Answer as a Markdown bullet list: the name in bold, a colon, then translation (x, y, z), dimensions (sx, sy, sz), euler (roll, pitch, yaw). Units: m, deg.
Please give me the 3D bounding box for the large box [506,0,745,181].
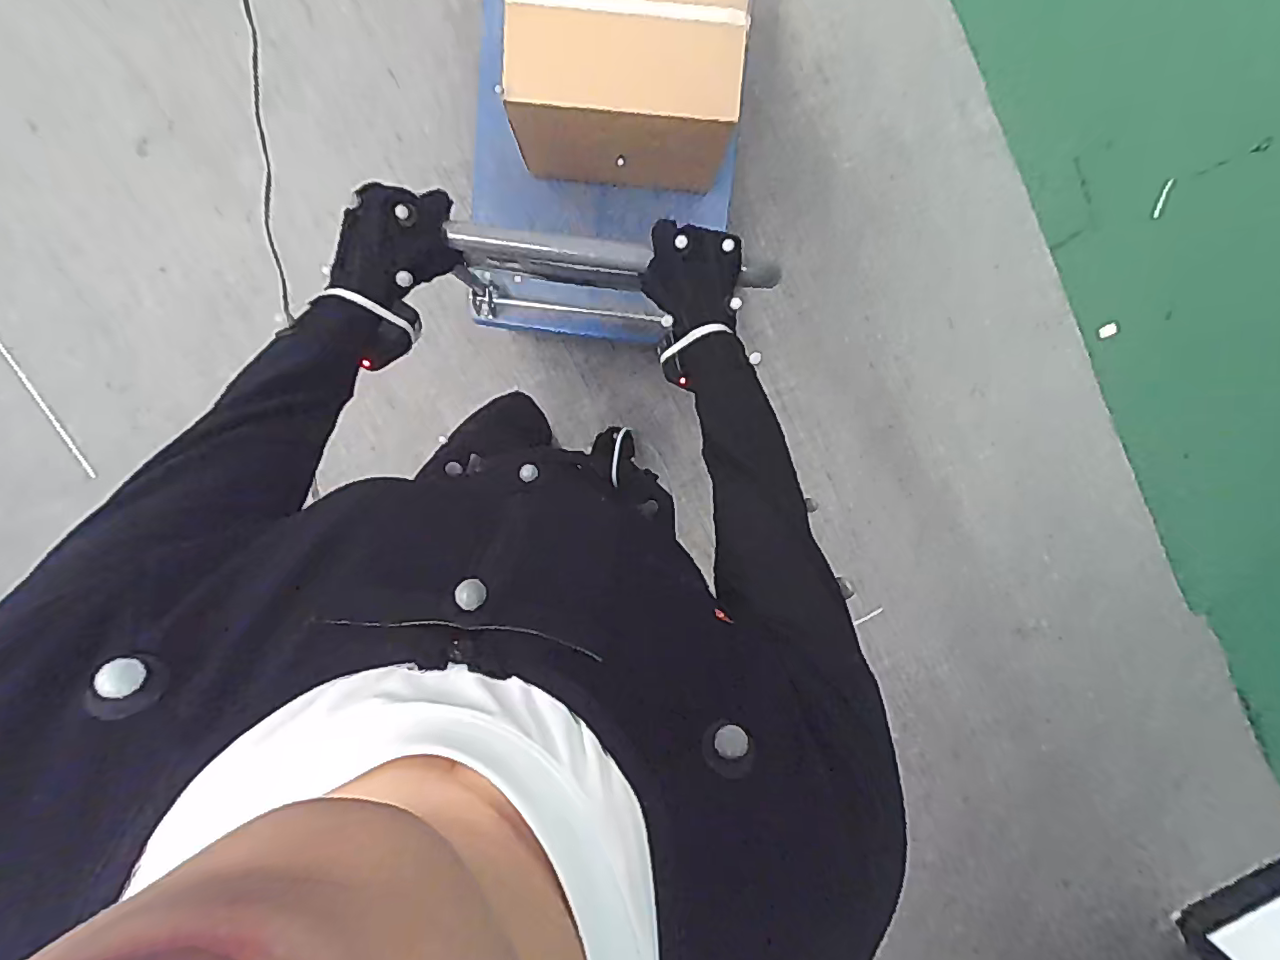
- **large box**: translation (-0.025, -0.810, 1.051), dimensions (0.408, 0.320, 0.320), euler (3, 97, -2)
